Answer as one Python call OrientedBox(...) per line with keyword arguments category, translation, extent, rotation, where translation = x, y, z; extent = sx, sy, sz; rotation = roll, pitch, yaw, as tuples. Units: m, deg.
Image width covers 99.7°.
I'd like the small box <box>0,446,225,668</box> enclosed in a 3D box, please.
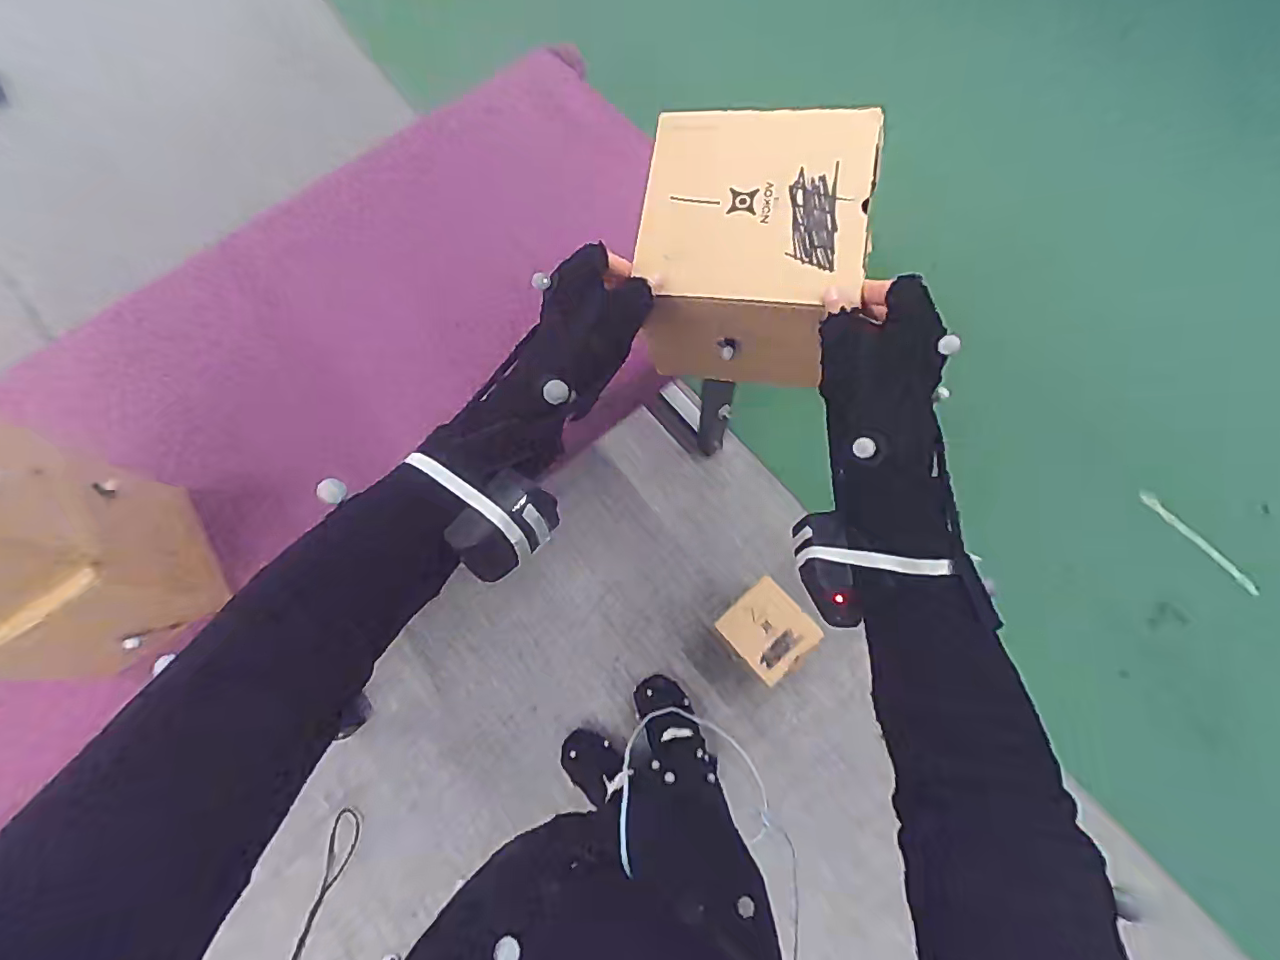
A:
OrientedBox(category="small box", translation=(-0.630, 0.097, 0.611), extent=(0.168, 0.176, 0.179), rotation=(-34, 74, -7))
